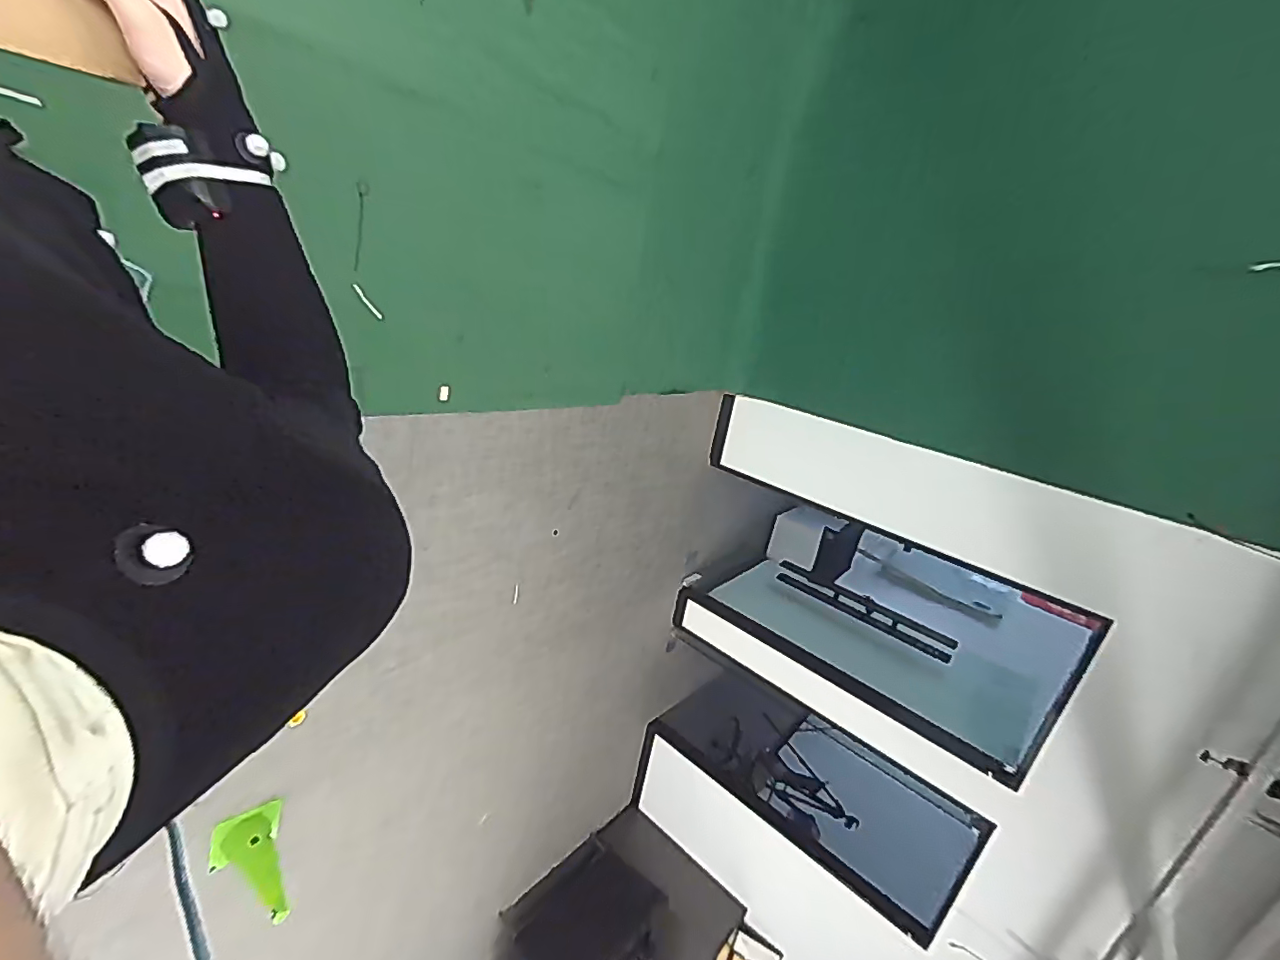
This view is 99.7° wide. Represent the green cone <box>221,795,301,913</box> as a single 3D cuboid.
[{"bbox_3d":[-1.212,1.278,1.791,0.200,0.368,0.202,-6,114,-52],"label":"green cone"}]
